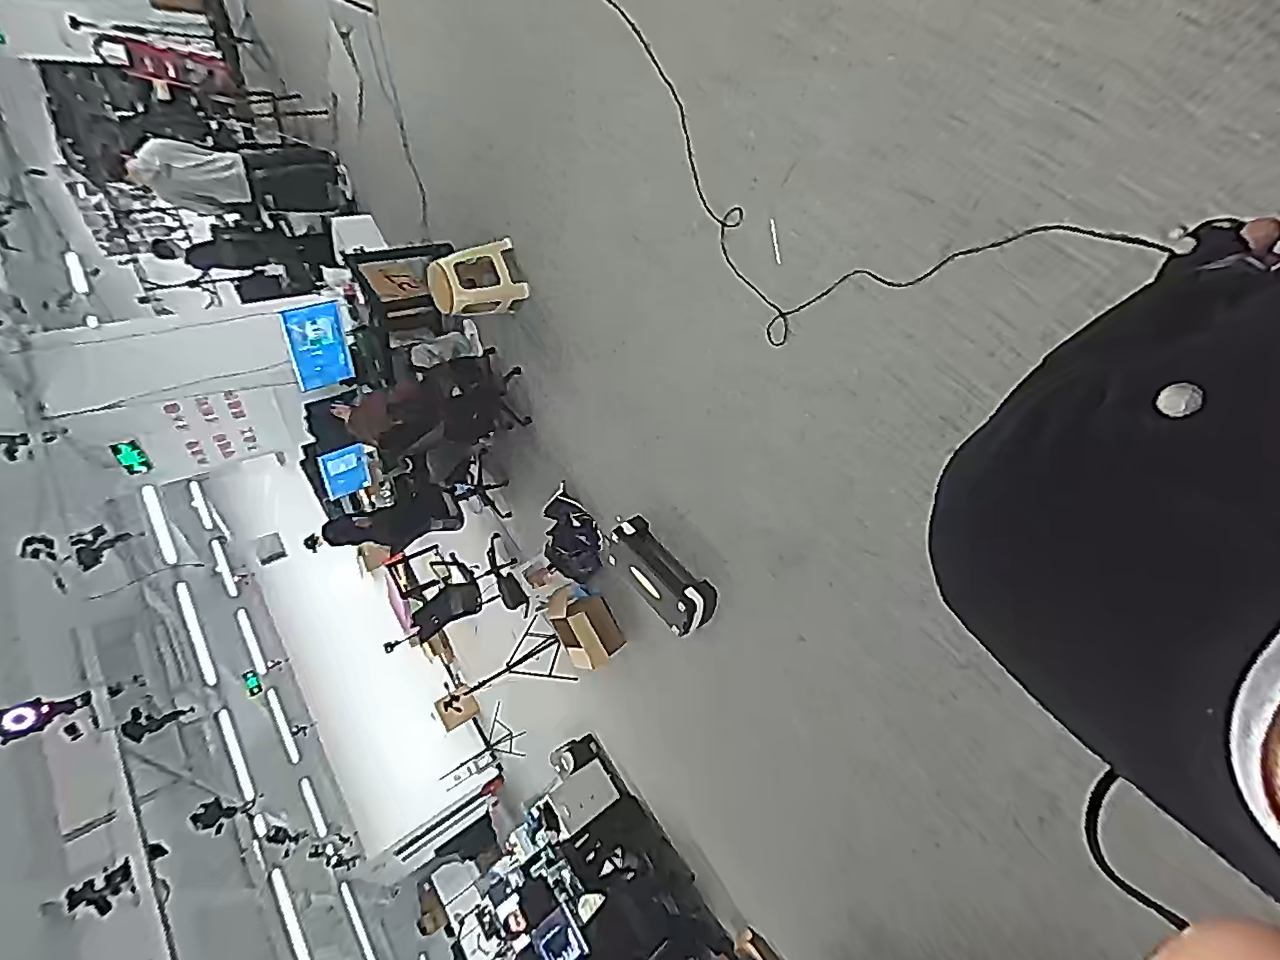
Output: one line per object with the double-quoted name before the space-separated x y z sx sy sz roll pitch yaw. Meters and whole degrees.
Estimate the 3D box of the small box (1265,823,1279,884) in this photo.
"small box" 1.213 0.646 0.886 0.179 0.176 0.168 44 145 29
